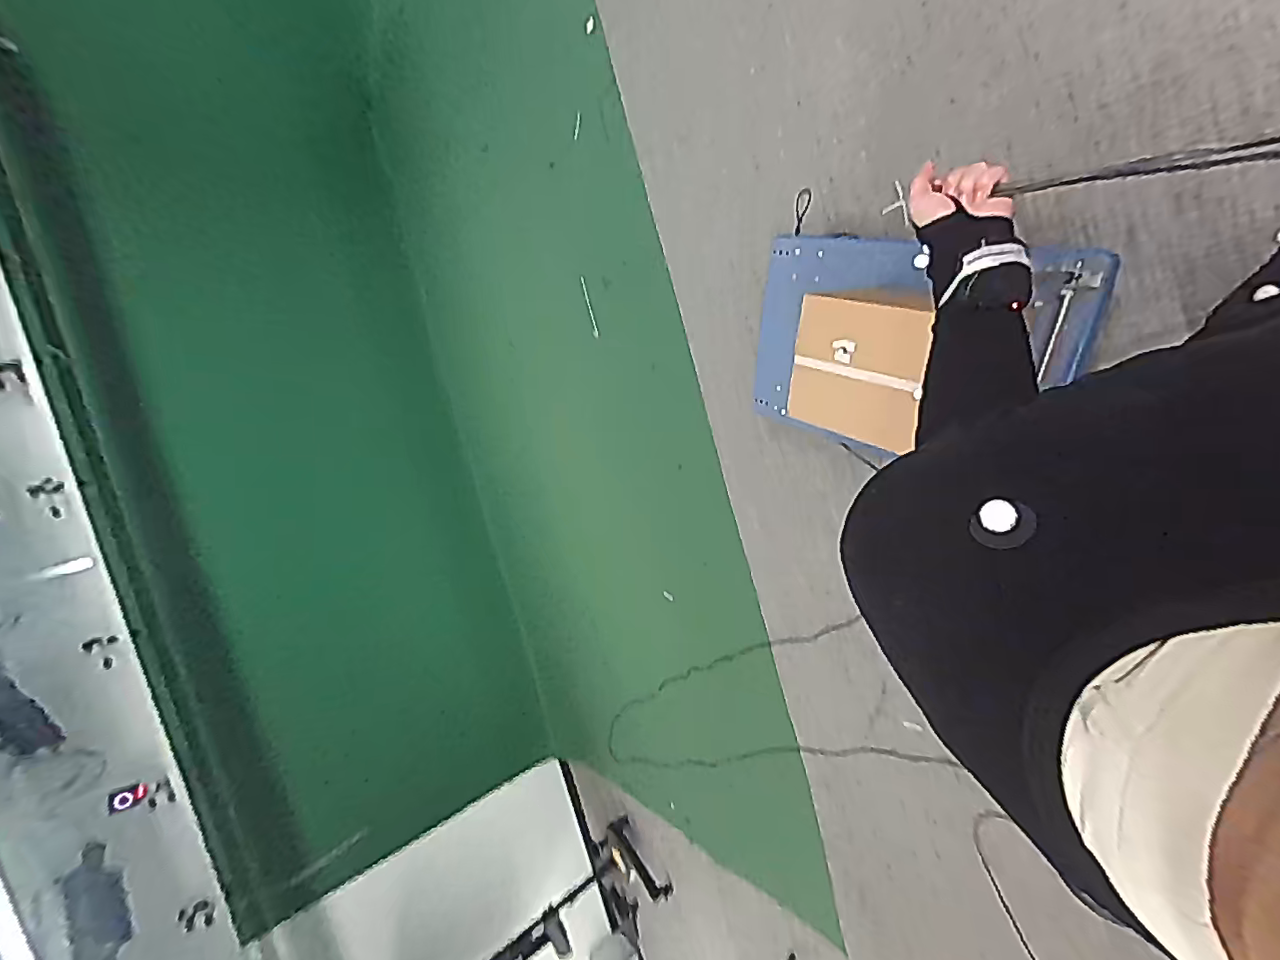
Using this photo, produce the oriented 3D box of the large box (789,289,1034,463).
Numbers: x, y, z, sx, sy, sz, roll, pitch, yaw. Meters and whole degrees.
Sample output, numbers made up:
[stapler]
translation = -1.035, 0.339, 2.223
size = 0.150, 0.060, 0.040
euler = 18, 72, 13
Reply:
[large box]
translation = 0.634, -0.276, 1.309
size = 0.408, 0.320, 0.320
euler = 31, 127, 45
